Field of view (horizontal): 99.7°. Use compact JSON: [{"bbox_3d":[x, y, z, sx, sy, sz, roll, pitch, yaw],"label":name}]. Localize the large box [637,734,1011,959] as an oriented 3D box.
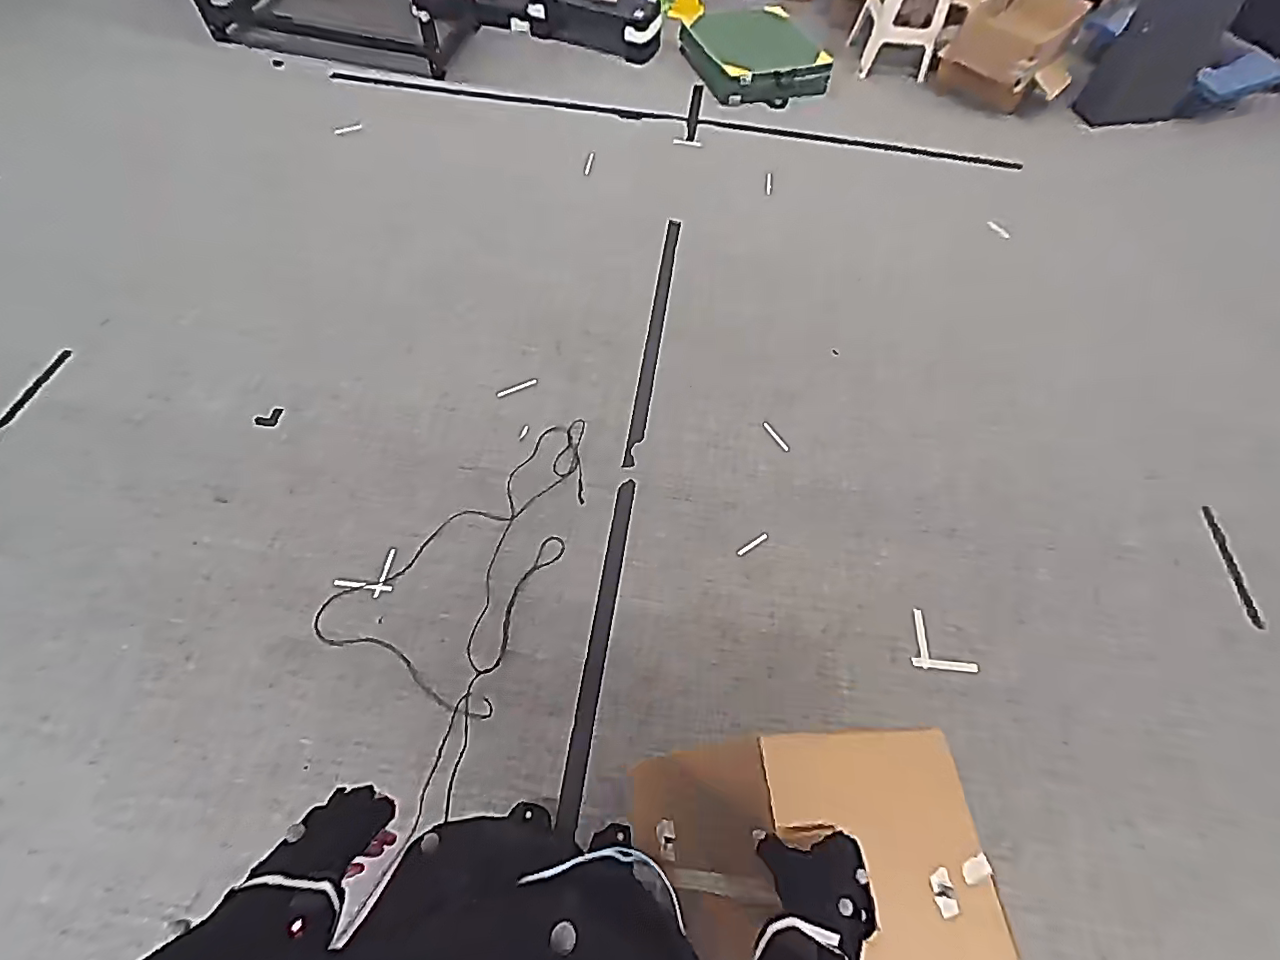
[{"bbox_3d":[0.218,0.565,0.776,0.320,0.408,0.320,10,55,-19],"label":"large box"}]
